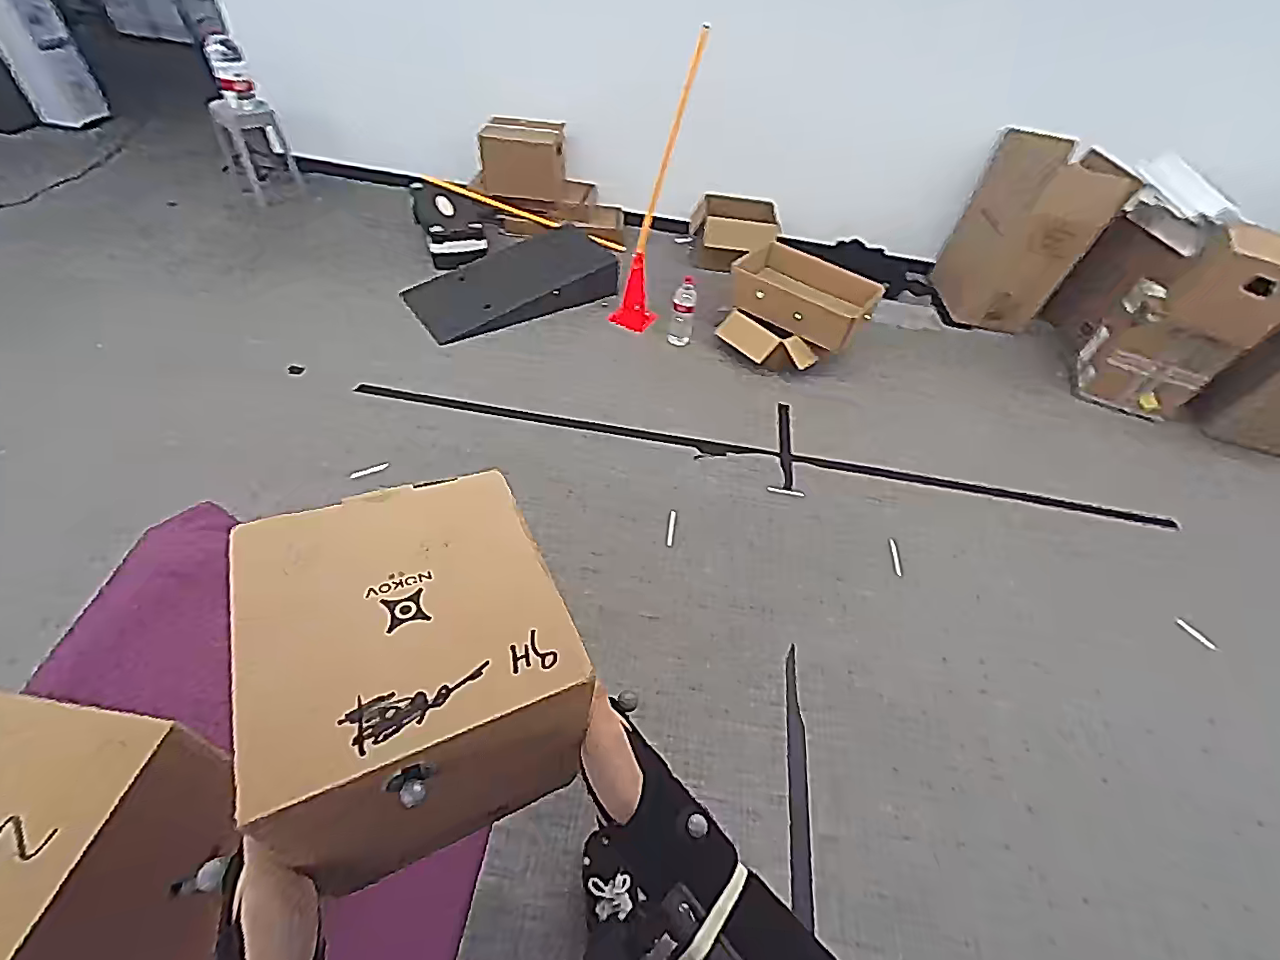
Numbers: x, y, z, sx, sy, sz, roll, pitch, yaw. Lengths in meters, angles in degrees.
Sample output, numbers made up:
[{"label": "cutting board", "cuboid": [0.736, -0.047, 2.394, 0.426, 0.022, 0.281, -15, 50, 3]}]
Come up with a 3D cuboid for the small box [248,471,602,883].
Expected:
[{"label": "small box", "cuboid": [-0.140, 0.124, 0.366, 0.168, 0.176, 0.179, -15, 48, -24]}]

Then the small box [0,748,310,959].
[{"label": "small box", "cuboid": [-0.455, 0.387, 0.522, 0.168, 0.176, 0.179, 8, 48, 1]}]
